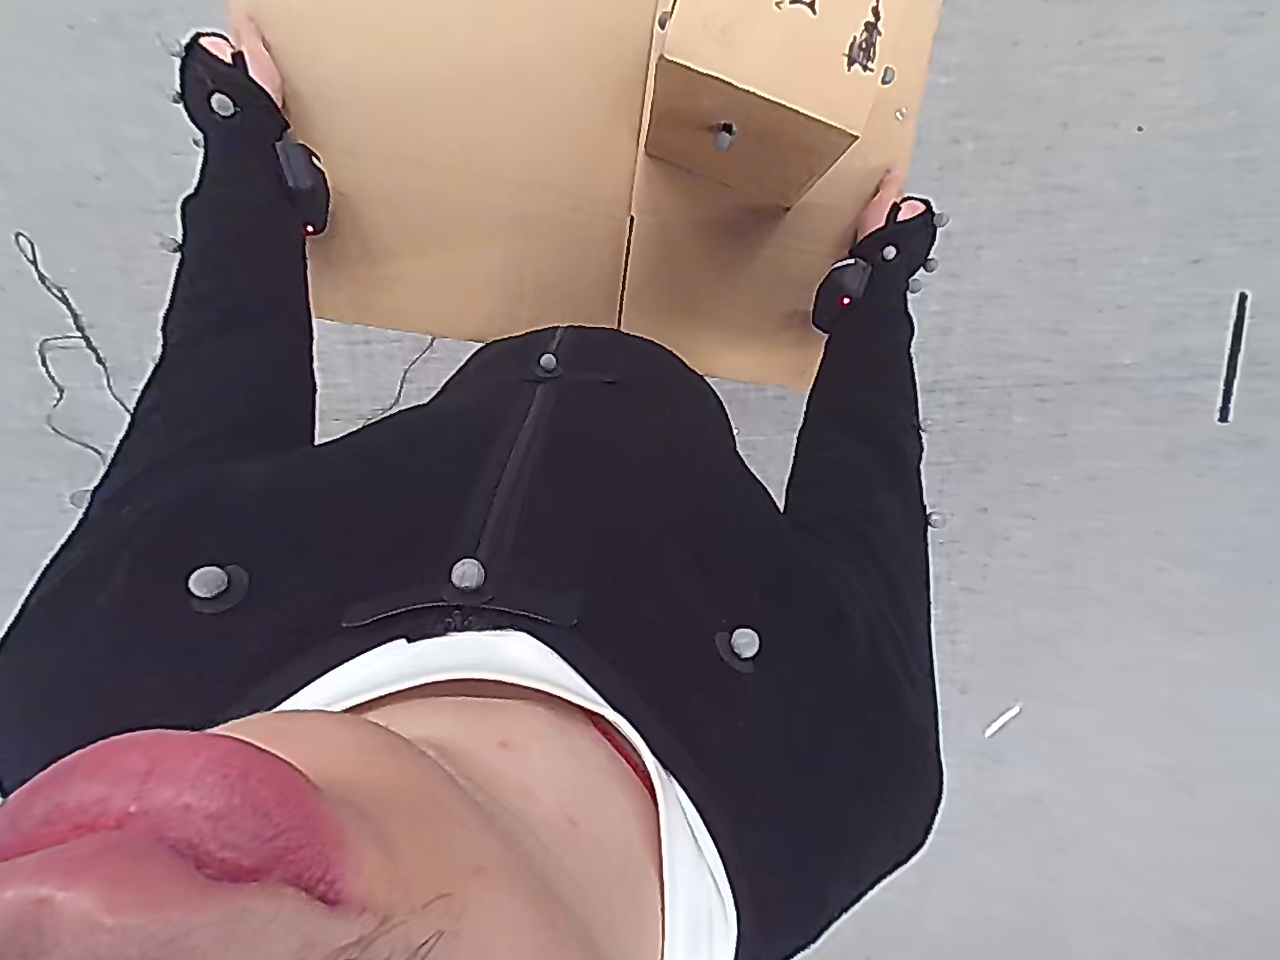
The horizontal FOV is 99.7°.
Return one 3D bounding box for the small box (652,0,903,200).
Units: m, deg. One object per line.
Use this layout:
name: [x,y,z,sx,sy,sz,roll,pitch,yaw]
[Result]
small box: [0.117,-0.394,0.507,0.179,0.176,0.168,18,97,-5]
